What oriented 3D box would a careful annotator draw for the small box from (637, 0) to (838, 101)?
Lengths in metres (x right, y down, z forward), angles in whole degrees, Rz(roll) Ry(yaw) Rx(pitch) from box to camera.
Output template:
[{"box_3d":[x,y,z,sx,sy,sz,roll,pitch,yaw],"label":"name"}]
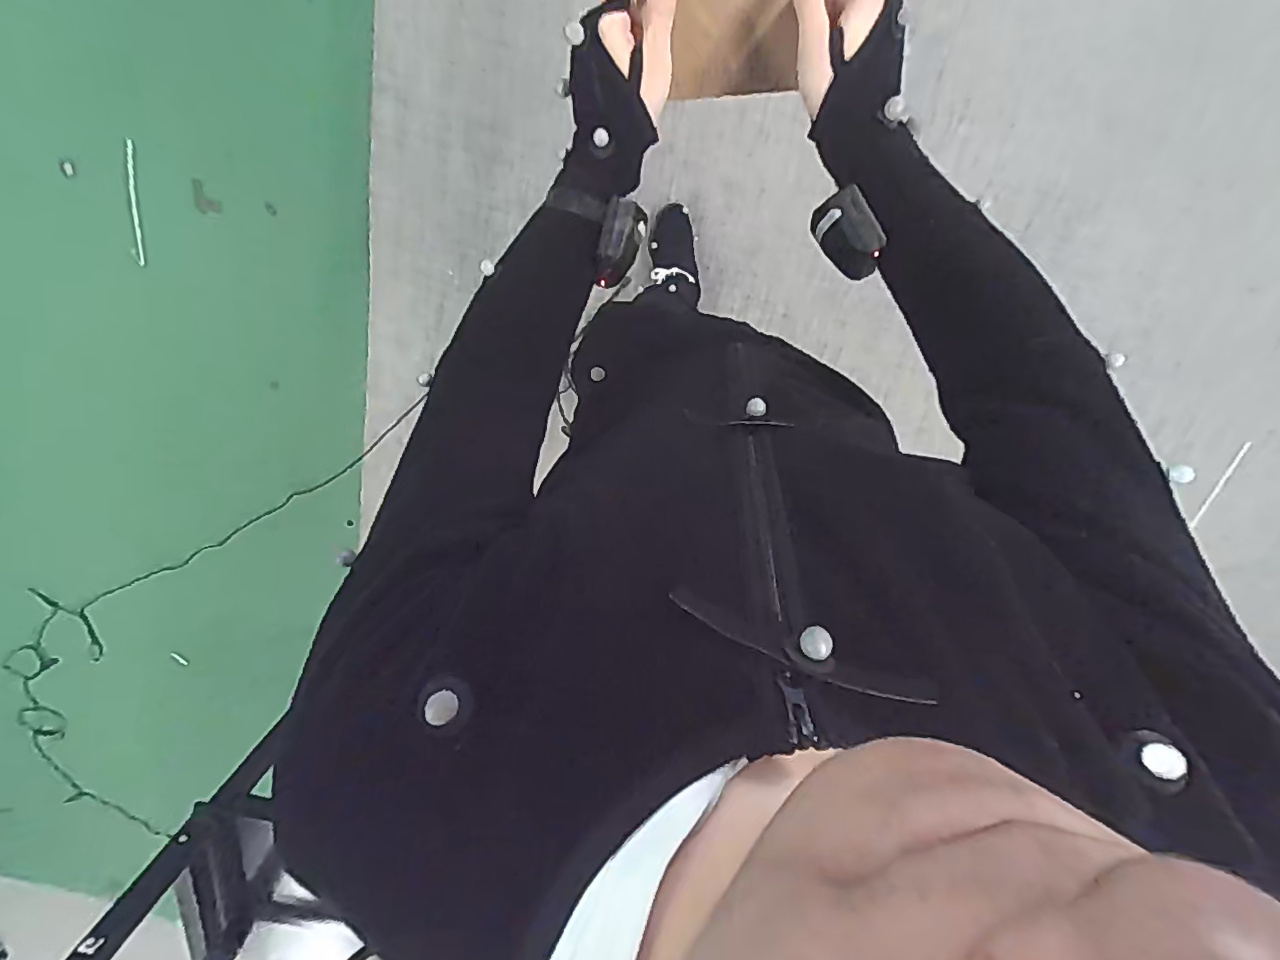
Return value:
[{"box_3d":[0.082,-0.472,0.477,0.179,0.176,0.168,-2,74,3],"label":"small box"}]
